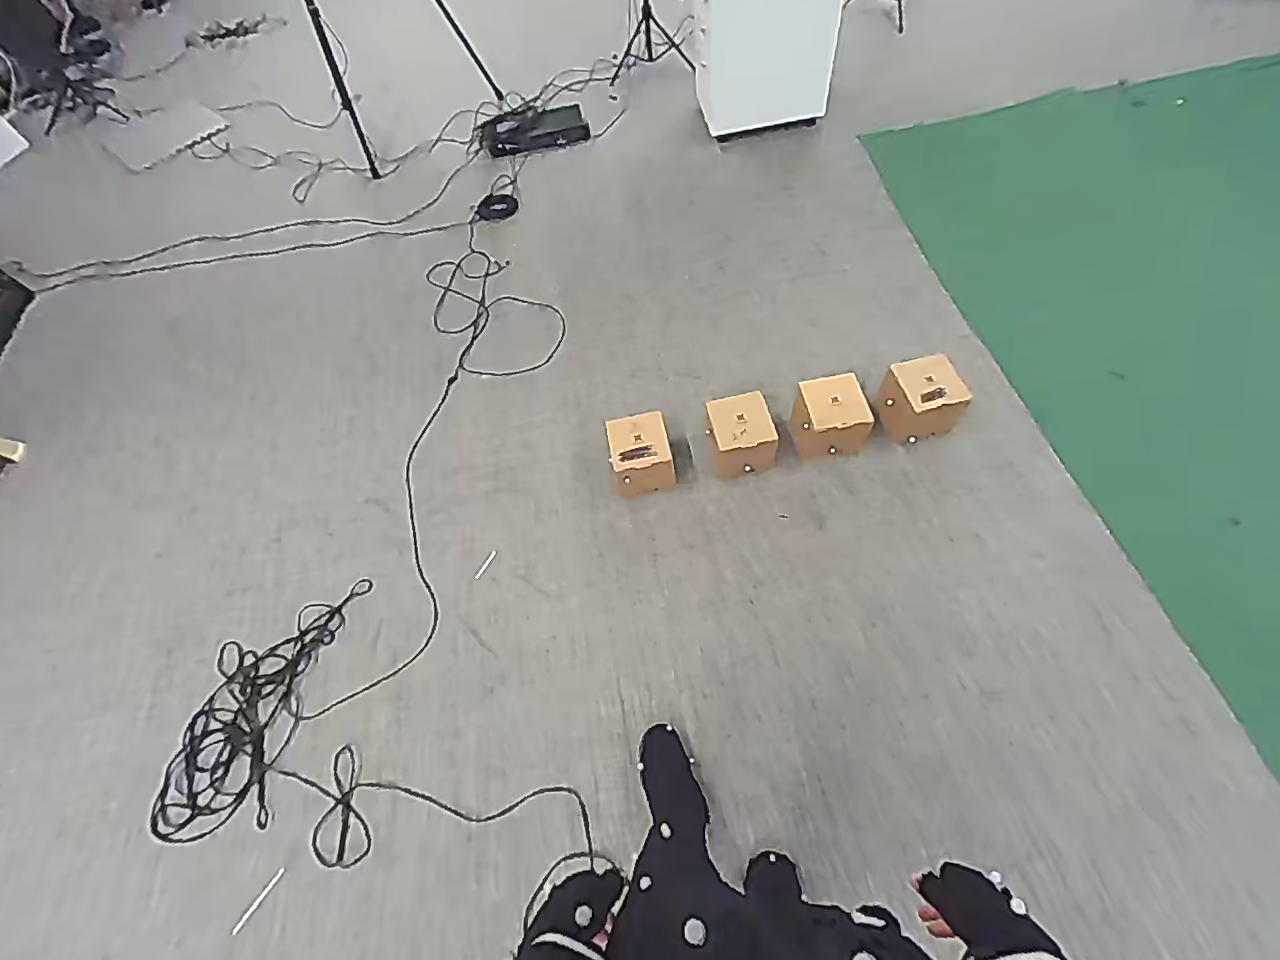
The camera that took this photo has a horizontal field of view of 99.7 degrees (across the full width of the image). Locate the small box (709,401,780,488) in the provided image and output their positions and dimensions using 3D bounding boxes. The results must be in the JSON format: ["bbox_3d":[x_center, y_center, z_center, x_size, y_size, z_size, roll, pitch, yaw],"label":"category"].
[{"bbox_3d":[0.298,-0.102,1.585,0.168,0.176,0.179,-12,60,1],"label":"small box"}]

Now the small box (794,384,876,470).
[{"bbox_3d":[0.561,-0.152,1.585,0.168,0.176,0.179,-10,60,1],"label":"small box"}]

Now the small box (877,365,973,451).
[{"bbox_3d":[0.825,-0.203,1.583,0.168,0.176,0.179,-12,59,0],"label":"small box"}]
